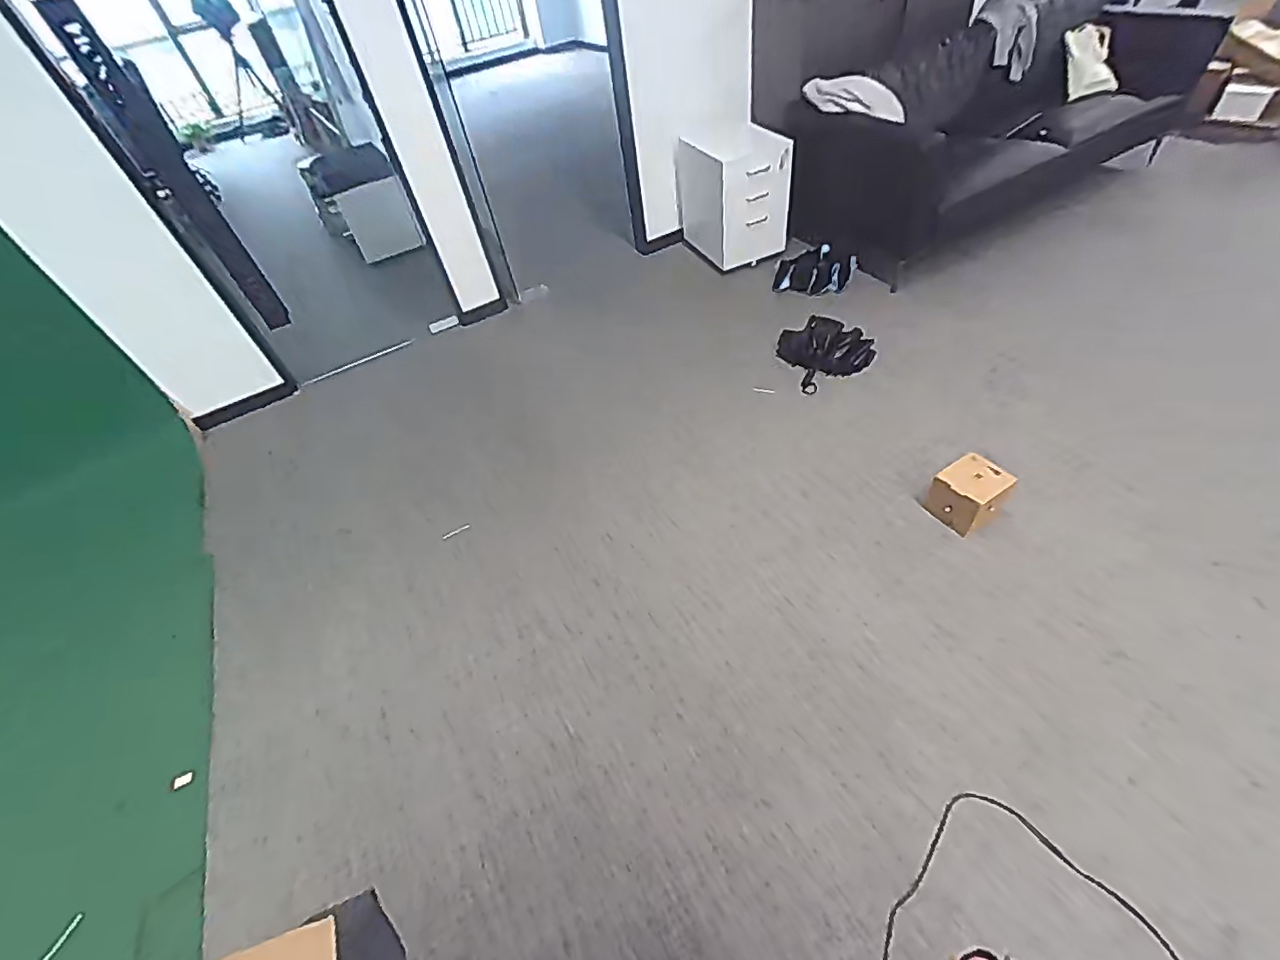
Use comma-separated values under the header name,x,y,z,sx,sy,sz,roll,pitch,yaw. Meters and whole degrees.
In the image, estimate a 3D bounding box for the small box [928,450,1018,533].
name,x,y,z,sx,sy,sz,roll,pitch,yaw
small box,1.068,0.041,1.754,0.179,0.176,0.168,-30,50,-15
